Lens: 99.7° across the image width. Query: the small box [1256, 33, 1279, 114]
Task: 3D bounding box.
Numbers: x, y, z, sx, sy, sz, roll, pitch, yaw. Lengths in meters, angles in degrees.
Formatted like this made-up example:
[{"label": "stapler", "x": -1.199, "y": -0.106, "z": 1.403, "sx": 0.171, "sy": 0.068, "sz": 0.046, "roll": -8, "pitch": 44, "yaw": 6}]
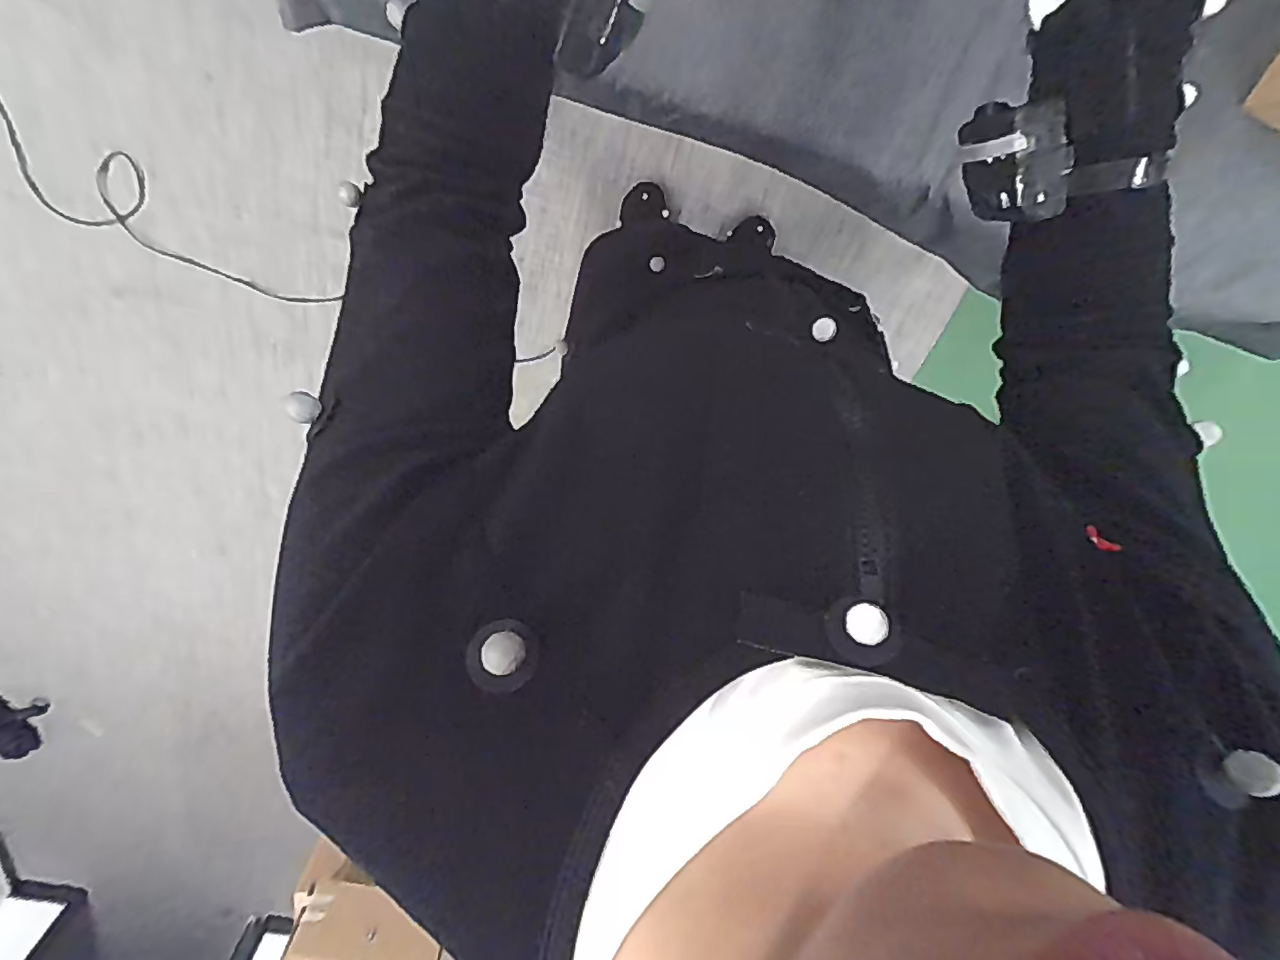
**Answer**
[{"label": "small box", "x": 0.689, "y": -0.385, "z": 0.440, "sx": 0.168, "sy": 0.176, "sz": 0.179, "roll": 15, "pitch": 120, "yaw": -9}]
